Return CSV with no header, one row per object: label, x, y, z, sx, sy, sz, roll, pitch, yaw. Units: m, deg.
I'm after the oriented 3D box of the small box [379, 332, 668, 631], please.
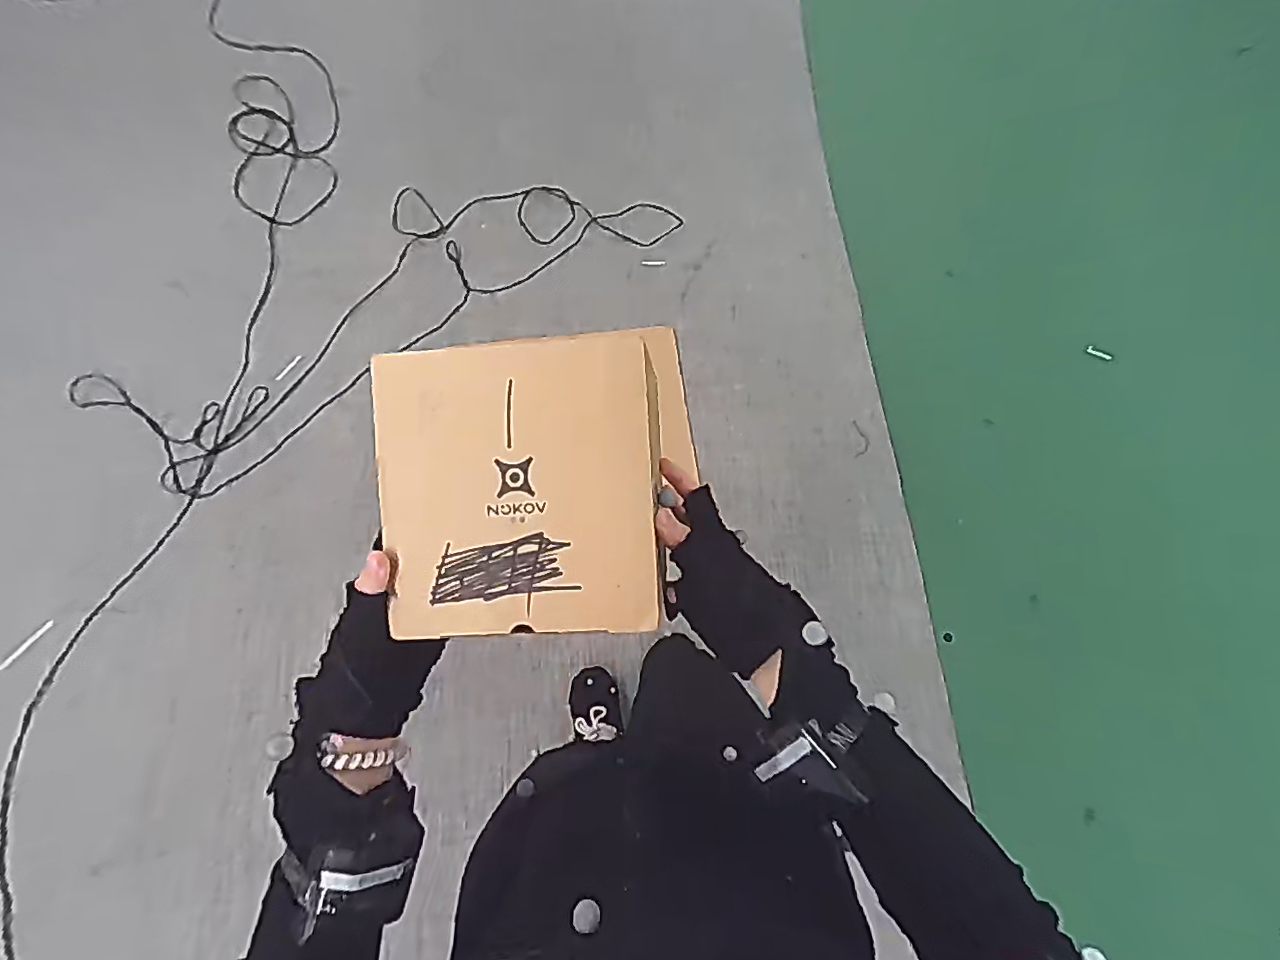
small box,-0.066,-0.001,0.402,0.168,0.176,0.179,-3,92,4
